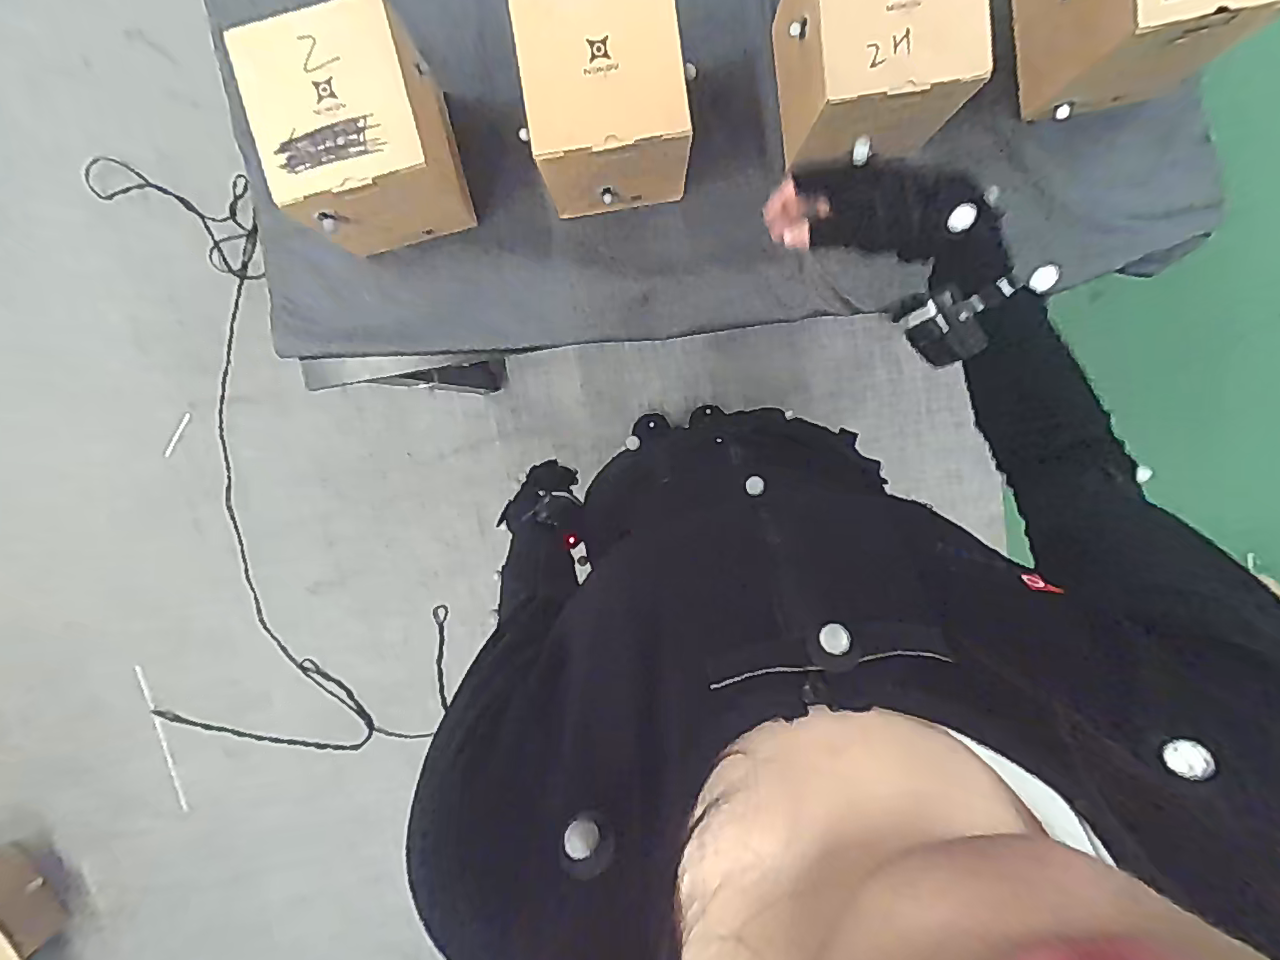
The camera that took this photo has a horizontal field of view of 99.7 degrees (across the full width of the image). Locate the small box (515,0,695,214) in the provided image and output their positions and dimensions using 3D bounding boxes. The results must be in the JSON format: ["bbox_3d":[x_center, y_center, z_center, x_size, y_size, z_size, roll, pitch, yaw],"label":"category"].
[{"bbox_3d":[-0.037,-0.434,0.619,0.168,0.176,0.179,-9,97,1],"label":"small box"}]

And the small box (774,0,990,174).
[{"bbox_3d":[0.257,-0.482,0.610,0.168,0.176,0.179,-8,97,2],"label":"small box"}]

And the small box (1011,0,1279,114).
[{"bbox_3d":[0.550,-0.543,0.602,0.168,0.176,0.179,-9,96,1],"label":"small box"}]
